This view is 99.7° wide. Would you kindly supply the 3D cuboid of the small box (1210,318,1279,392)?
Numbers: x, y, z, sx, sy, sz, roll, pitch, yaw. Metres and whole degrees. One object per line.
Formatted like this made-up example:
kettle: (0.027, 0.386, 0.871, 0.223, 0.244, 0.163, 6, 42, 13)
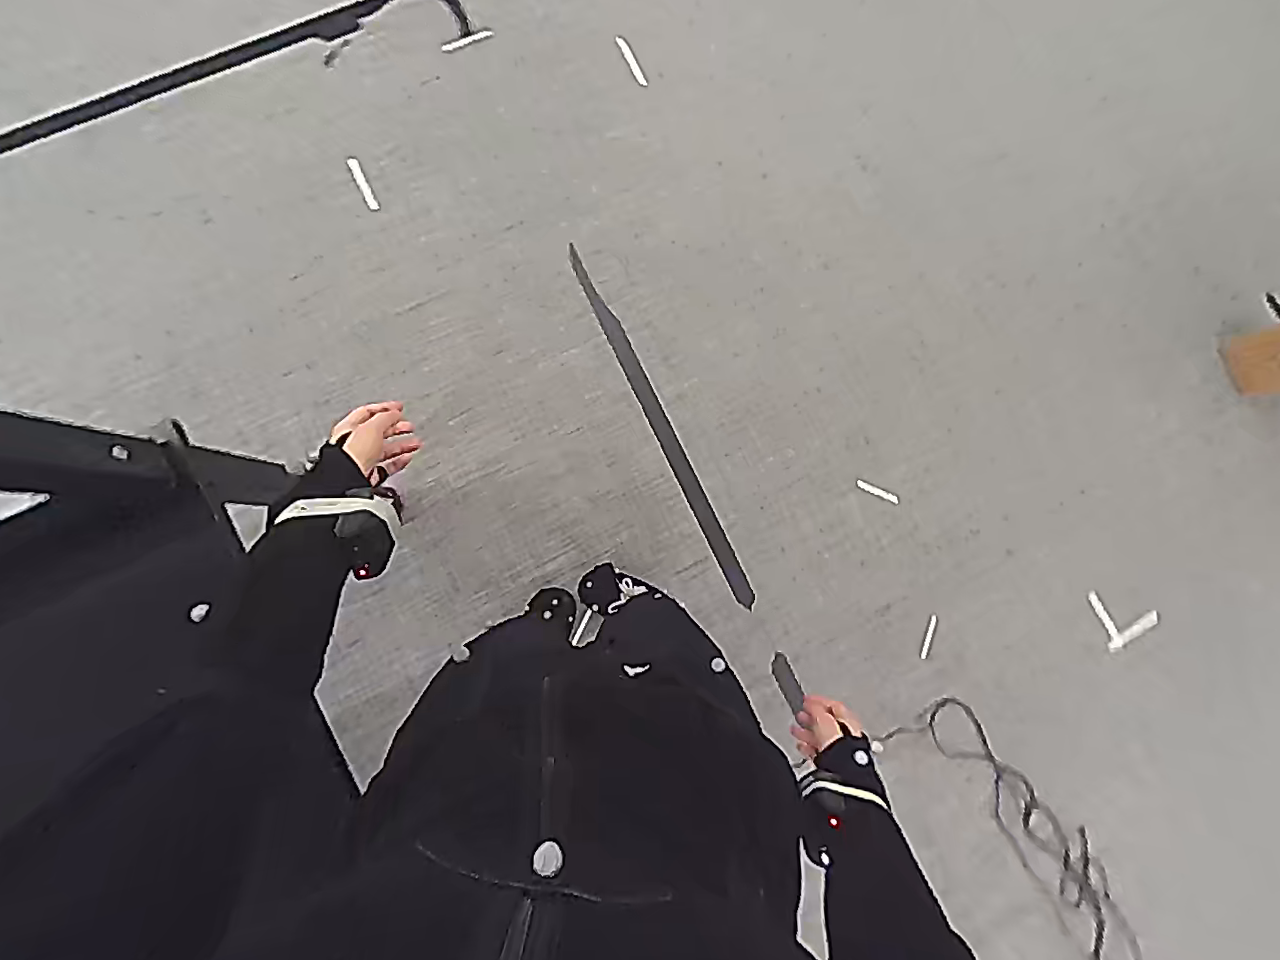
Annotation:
small box: (1.787, -0.359, 1.518, 0.168, 0.176, 0.179, -20, 86, -7)
